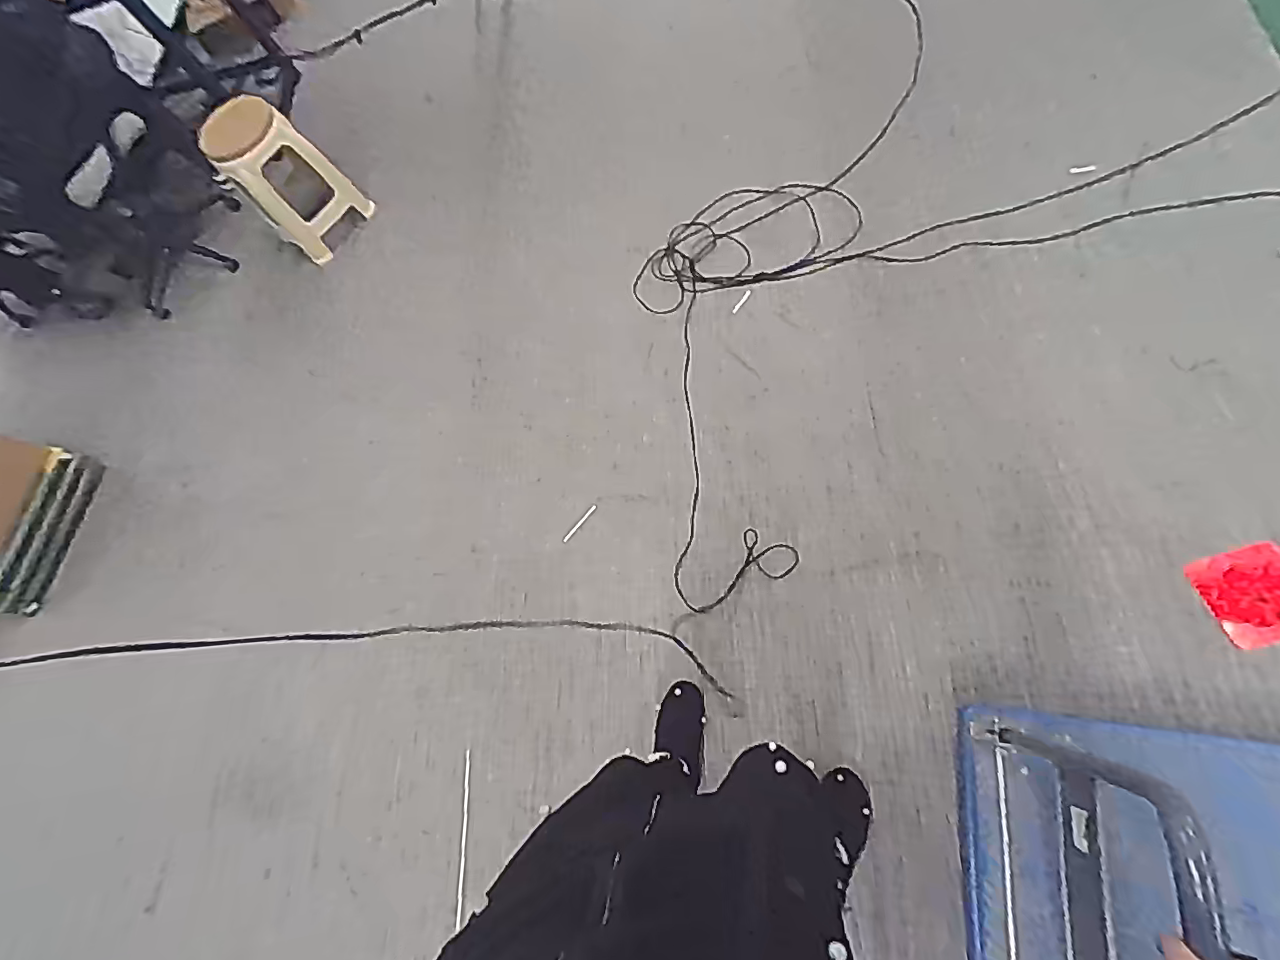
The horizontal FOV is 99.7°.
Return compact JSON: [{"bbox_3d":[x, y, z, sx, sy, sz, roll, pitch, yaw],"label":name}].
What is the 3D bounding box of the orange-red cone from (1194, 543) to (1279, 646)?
[{"bbox_3d":[1.354,0.198,1.054,0.198,0.360,0.199,-19,67,5],"label":"orange-red cone"}]
